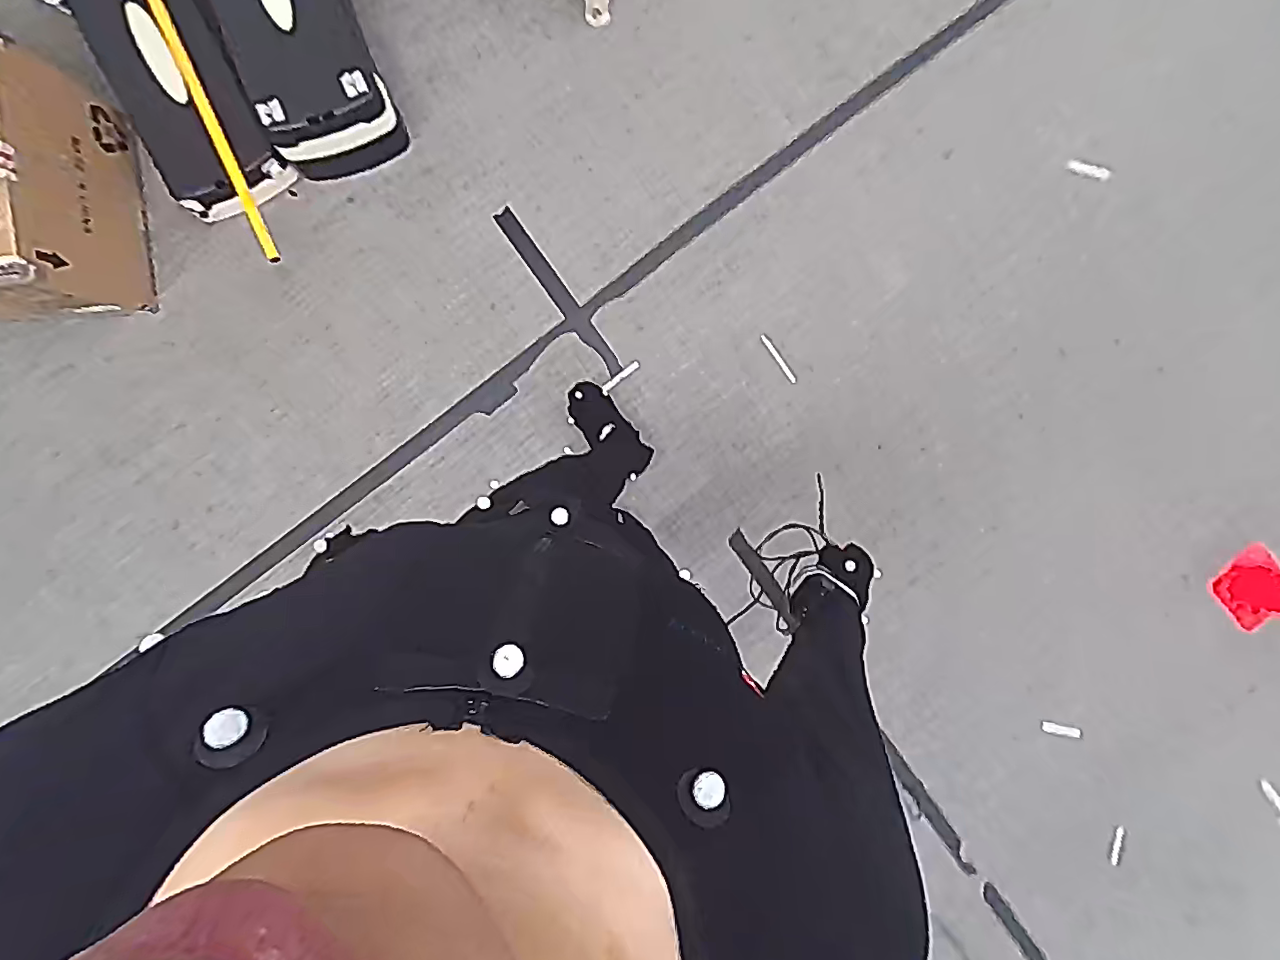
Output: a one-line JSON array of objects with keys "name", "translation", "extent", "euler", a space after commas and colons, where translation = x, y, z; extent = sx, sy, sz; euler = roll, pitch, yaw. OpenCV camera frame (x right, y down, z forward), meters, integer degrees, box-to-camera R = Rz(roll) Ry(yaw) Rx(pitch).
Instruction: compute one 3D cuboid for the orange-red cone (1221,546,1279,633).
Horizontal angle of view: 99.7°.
[{"name": "orange-red cone", "translation": [1.793, 0.319, 1.384], "extent": [0.198, 0.360, 0.199], "euler": [-41, 92, -1]}]
